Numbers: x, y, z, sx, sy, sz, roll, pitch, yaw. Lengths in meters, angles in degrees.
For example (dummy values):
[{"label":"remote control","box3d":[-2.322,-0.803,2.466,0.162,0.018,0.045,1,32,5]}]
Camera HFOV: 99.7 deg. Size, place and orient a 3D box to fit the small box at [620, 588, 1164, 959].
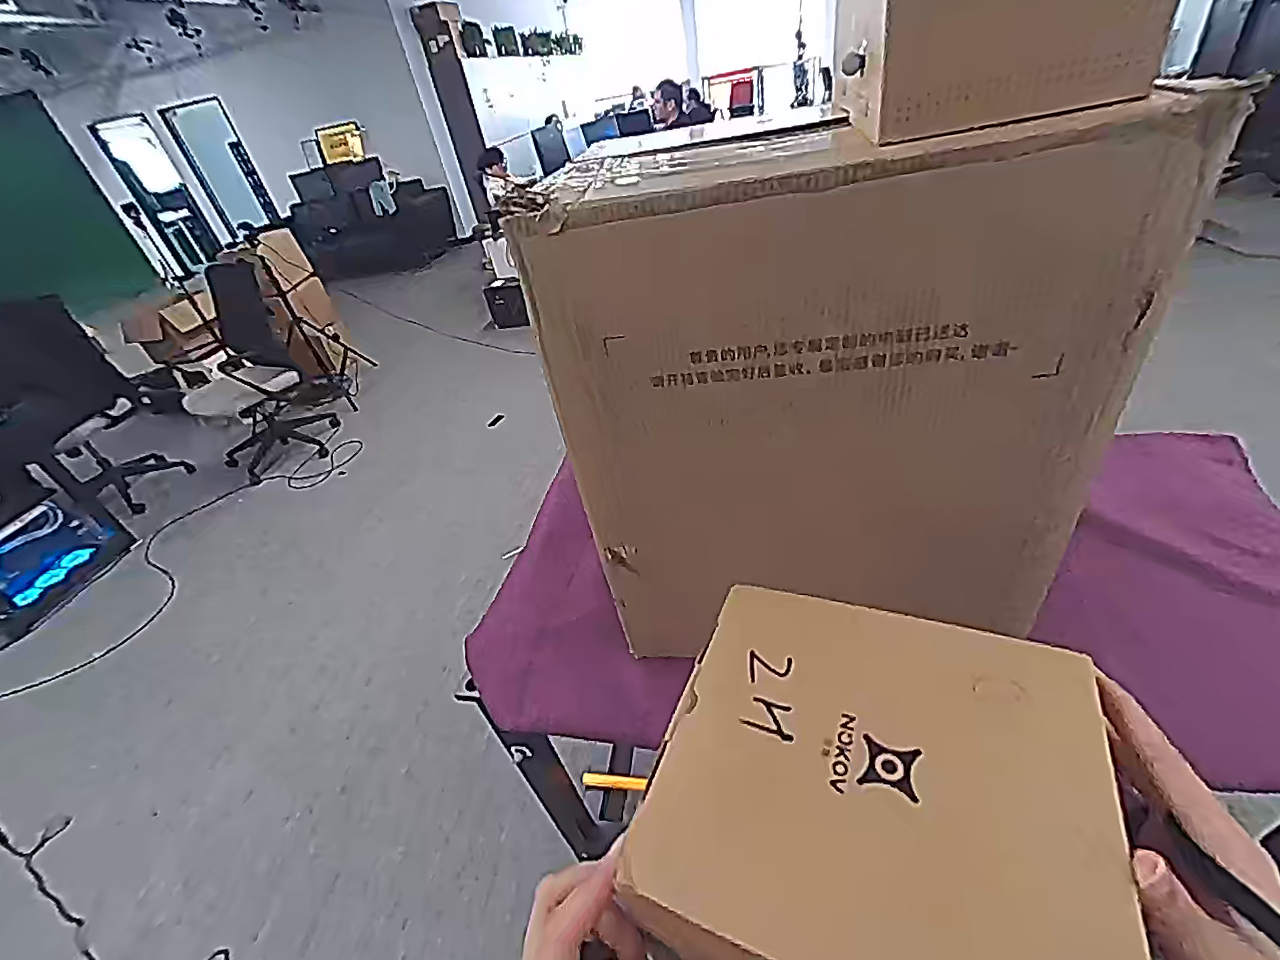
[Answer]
[{"label":"small box","box3d":[0.115,0.187,0.277,0.179,0.176,0.168,8,39,26]}]
